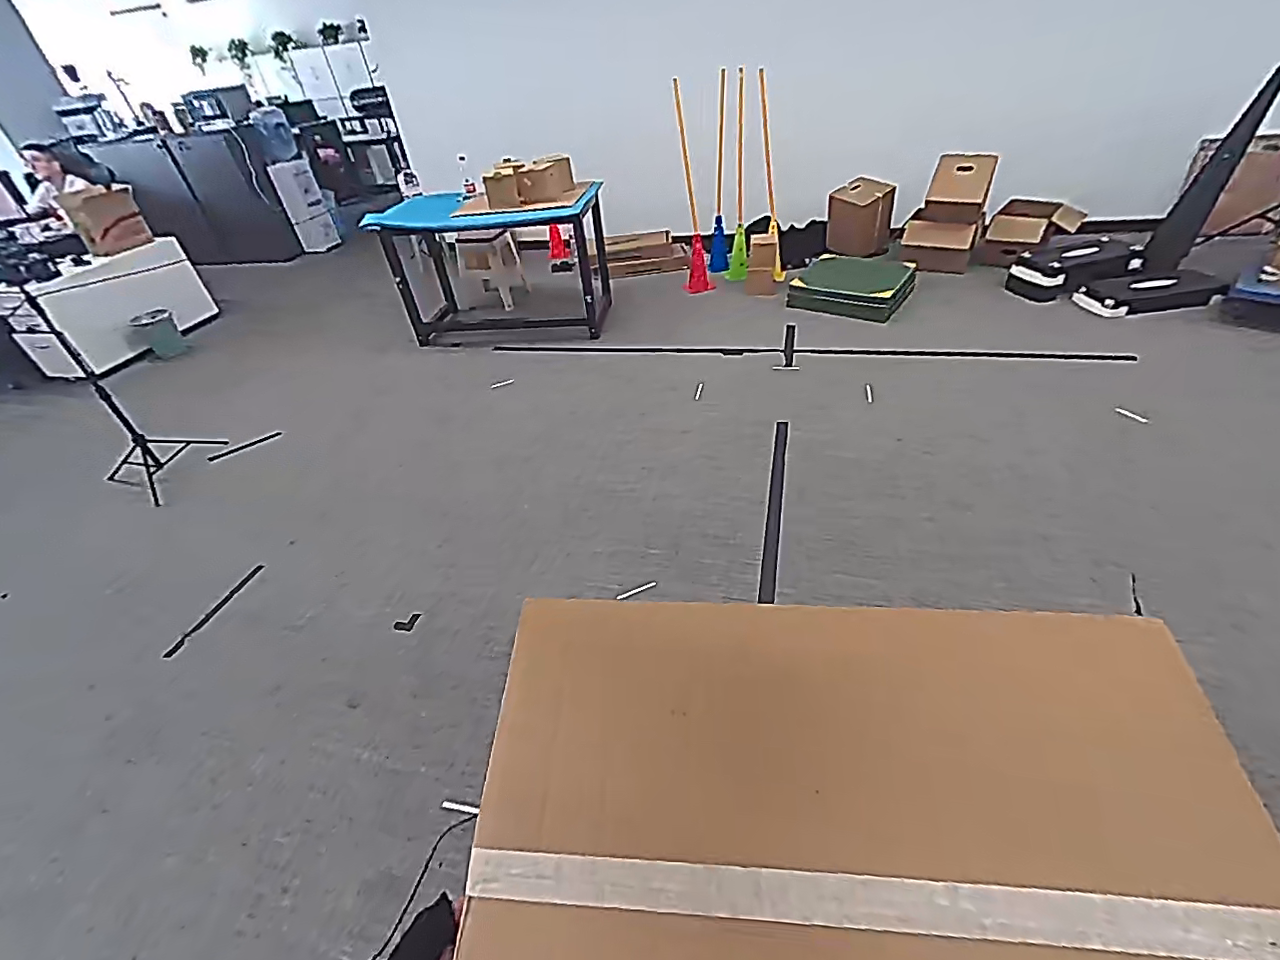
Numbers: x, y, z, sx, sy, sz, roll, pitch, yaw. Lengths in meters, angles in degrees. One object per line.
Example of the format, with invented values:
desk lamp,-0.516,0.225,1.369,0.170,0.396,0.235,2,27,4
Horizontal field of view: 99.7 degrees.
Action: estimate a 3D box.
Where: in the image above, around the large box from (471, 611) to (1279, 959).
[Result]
large box,0.124,0.304,0.395,0.408,0.320,0.320,0,55,7
